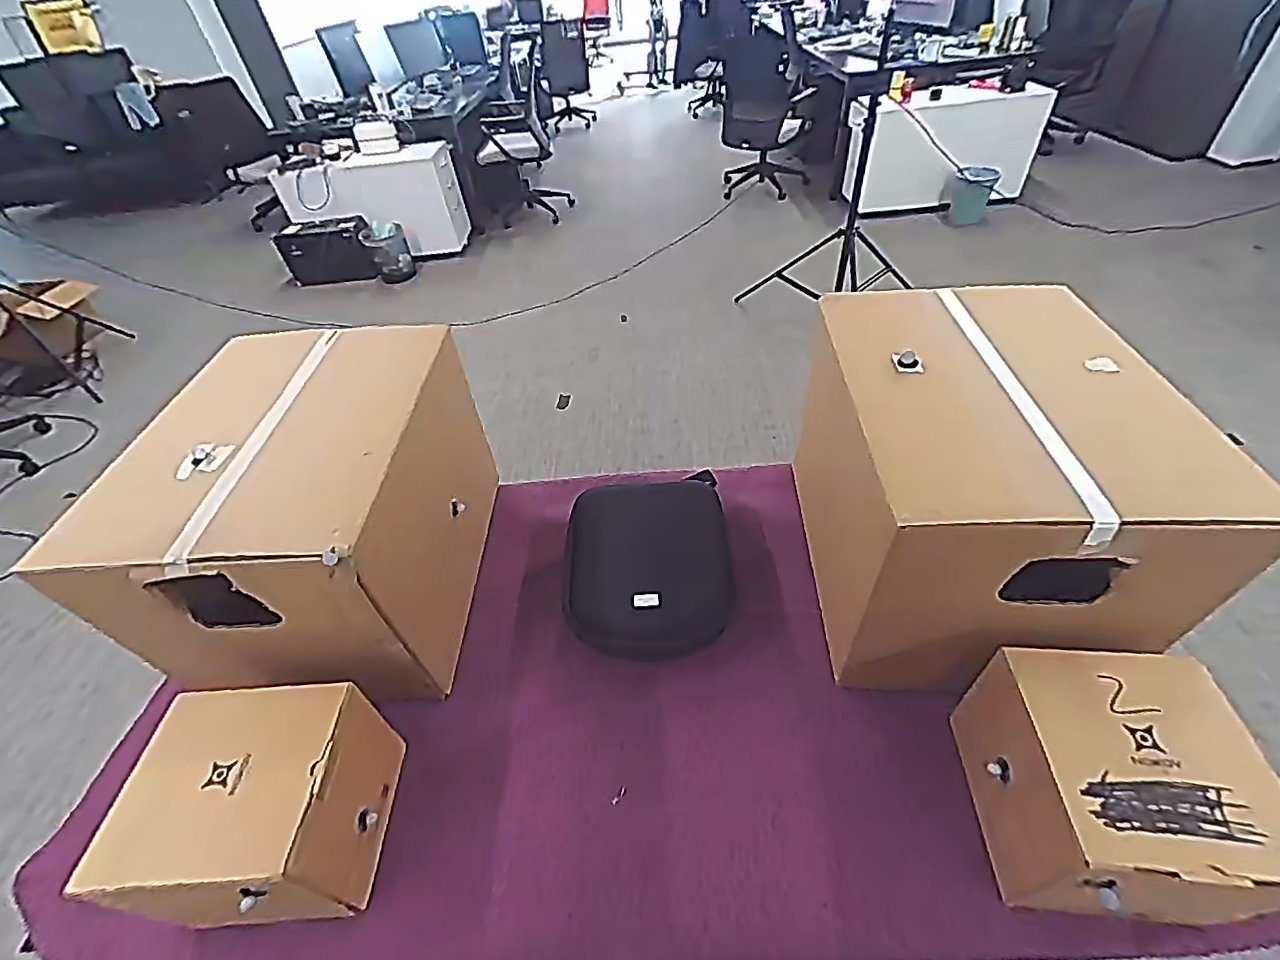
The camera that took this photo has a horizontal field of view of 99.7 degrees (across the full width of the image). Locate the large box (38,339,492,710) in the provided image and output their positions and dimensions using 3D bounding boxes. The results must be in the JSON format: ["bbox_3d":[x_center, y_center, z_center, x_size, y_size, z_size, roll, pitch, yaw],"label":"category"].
[{"bbox_3d":[-0.411,0.053,0.741,0.320,0.320,0.408,-4,47,1],"label":"large box"}]
